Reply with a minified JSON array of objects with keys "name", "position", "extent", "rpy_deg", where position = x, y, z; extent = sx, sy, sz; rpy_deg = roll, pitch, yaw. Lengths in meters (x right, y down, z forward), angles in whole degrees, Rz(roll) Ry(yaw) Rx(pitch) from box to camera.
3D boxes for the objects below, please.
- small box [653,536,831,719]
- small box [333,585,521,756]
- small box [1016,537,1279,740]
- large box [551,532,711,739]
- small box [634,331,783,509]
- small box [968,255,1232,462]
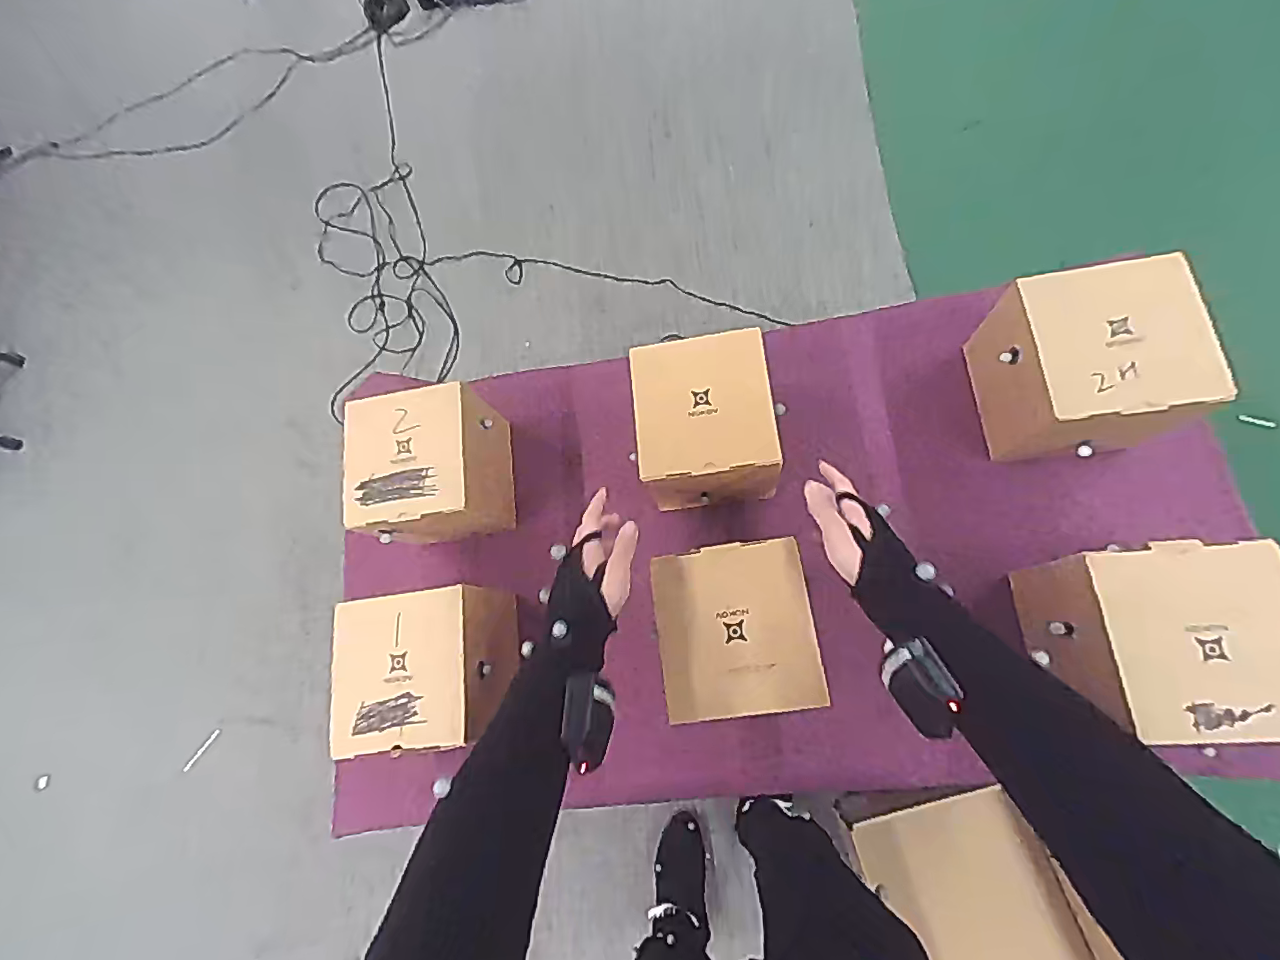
[{"name":"small box","position":[0.116,0.177,0.647],"extent":[0.168,0.176,0.179],"rpy_deg":[-10,72,8]},{"name":"small box","position":[-0.261,0.239,0.697],"extent":[0.168,0.176,0.179],"rpy_deg":[-9,72,7]},{"name":"small box","position":[0.535,0.168,0.569],"extent":[0.168,0.176,0.179],"rpy_deg":[-6,71,11]},{"name":"large box","position":[-0.004,0.372,1.312],"extent":[0.320,0.320,0.408],"rpy_deg":[-10,72,7]},{"name":"small box","position":[0.089,-0.071,0.724],"extent":[0.168,0.176,0.179],"rpy_deg":[-7,74,8]},{"name":"small box","position":[0.527,-0.135,0.655],"extent":[0.168,0.176,0.179],"rpy_deg":[-7,74,11]}]
